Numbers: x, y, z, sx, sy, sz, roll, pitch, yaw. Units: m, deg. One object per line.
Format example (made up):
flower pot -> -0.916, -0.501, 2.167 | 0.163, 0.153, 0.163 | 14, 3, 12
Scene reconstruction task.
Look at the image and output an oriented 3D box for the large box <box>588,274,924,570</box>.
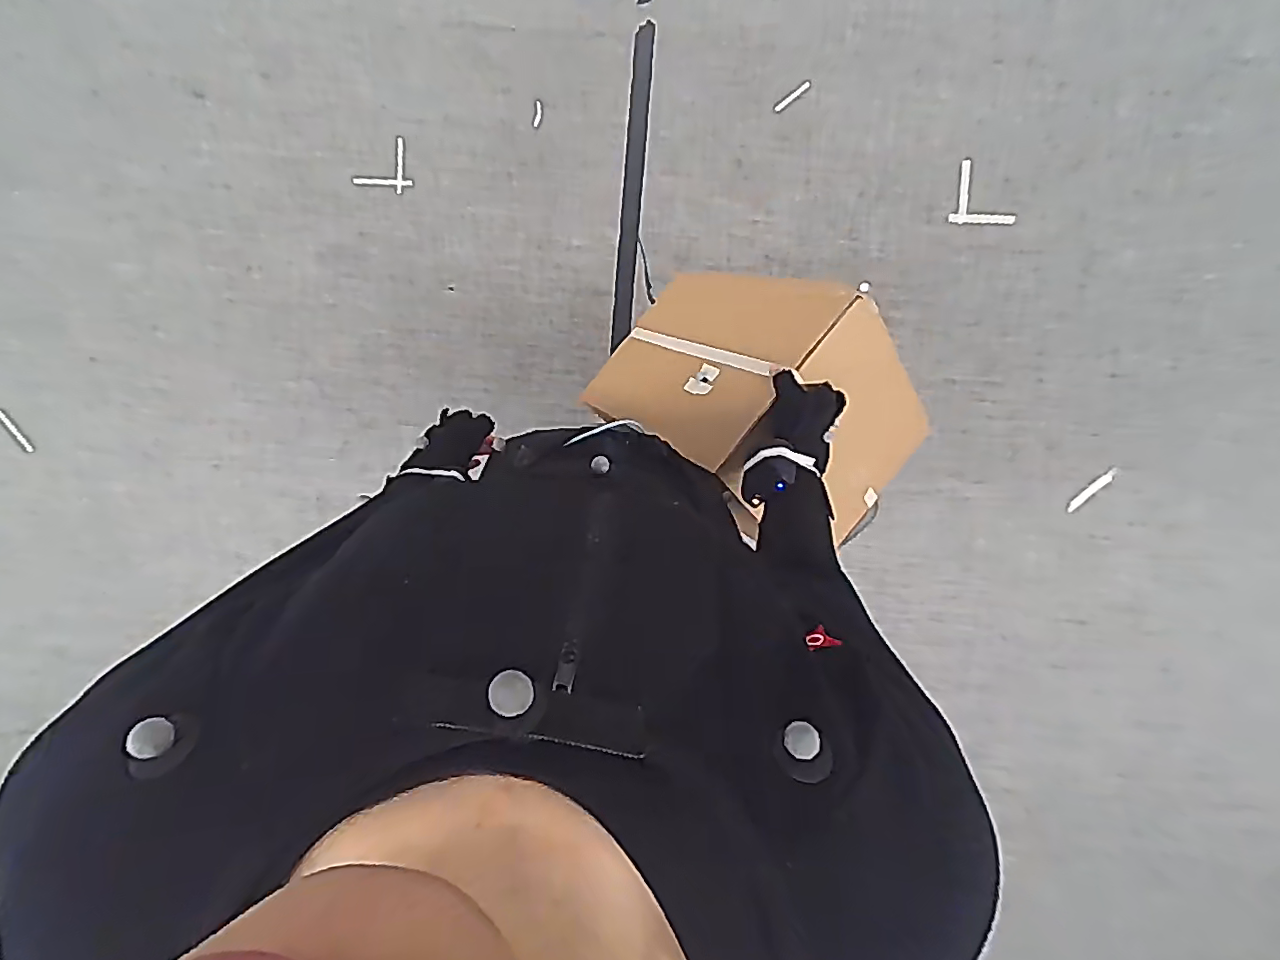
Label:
large box -> 0.186, -0.116, 0.931 | 0.320, 0.408, 0.320 | -50, 129, -2
